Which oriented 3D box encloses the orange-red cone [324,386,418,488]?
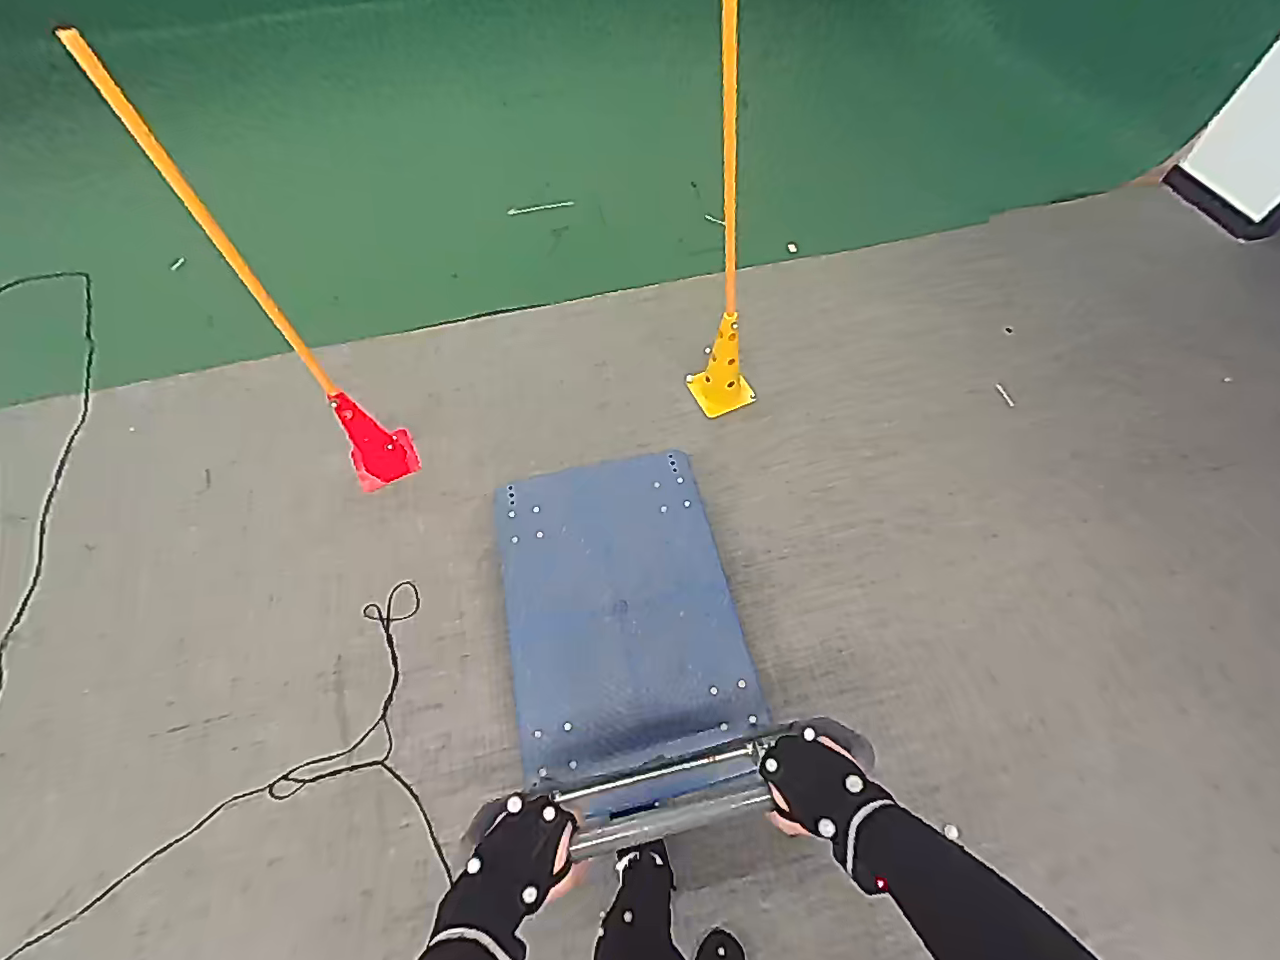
[{"bbox_3d":[-0.869,-0.162,1.676,0.199,0.360,0.198,-26,62,-12],"label":"orange-red cone"}]
